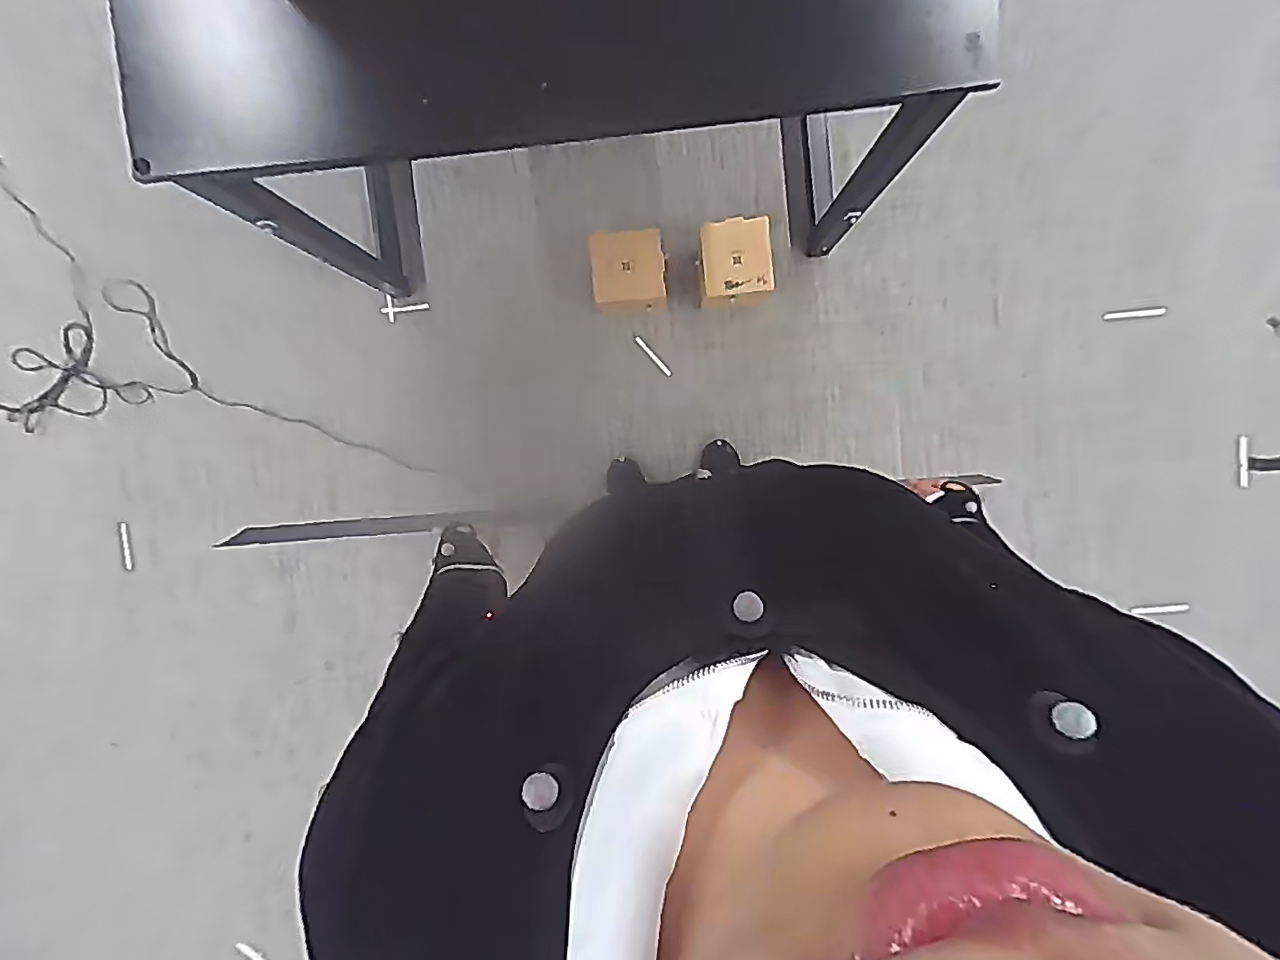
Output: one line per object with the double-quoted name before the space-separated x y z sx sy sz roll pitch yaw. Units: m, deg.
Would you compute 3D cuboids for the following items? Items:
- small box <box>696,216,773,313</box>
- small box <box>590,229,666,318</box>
"small box" 0.236 -0.542 1.375 0.168 0.176 0.179 -6 93 4
"small box" -0.026 -0.524 1.390 0.179 0.176 0.168 -5 93 4
